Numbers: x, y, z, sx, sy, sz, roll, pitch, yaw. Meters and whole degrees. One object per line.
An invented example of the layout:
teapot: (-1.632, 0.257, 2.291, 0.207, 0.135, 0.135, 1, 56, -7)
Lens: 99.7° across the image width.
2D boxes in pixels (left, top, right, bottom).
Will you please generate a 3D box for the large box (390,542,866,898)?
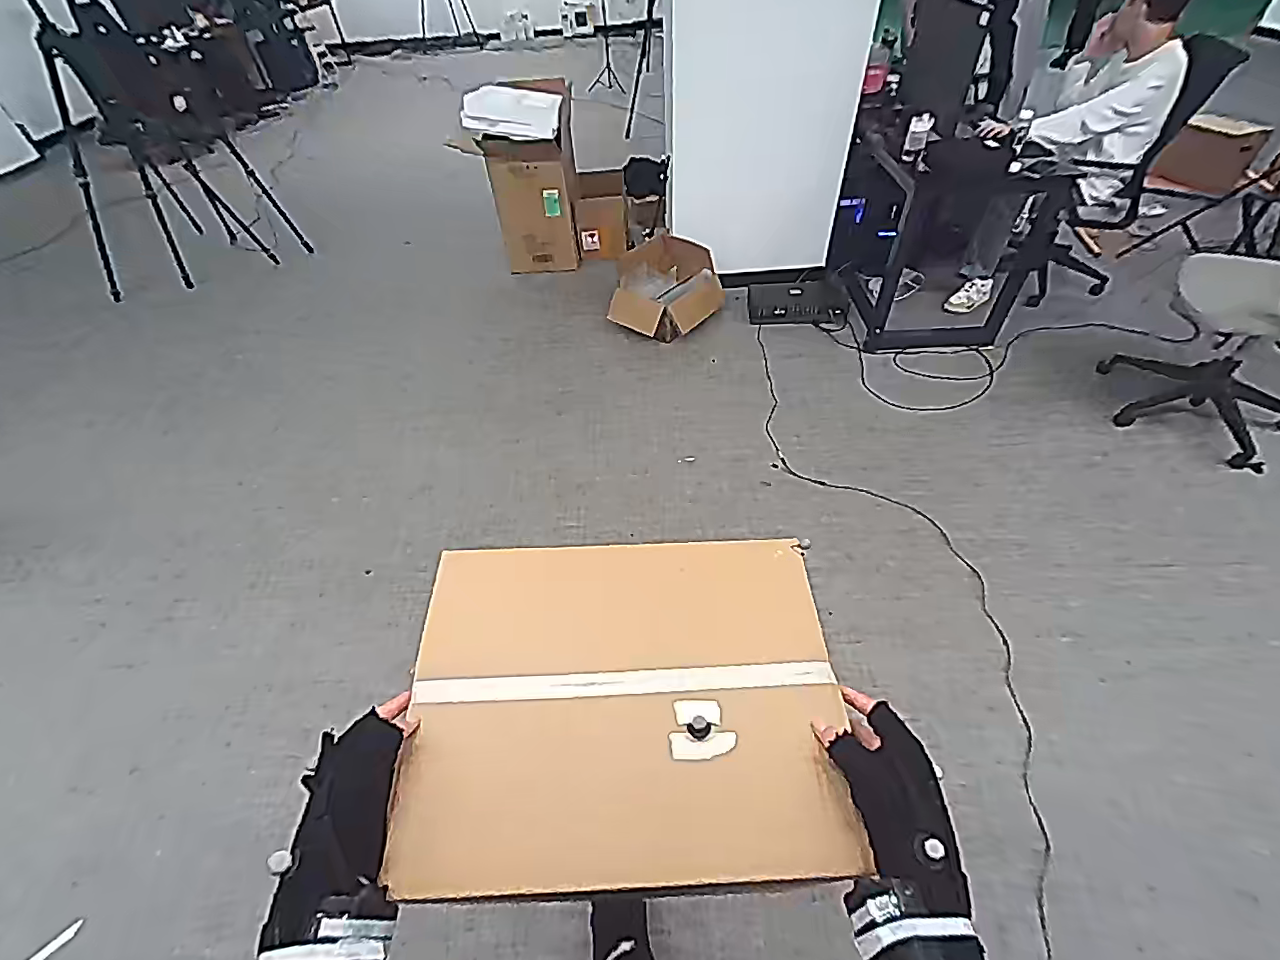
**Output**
large box: (-0.015, 0.293, 0.651, 0.408, 0.320, 0.320, -1, 51, -1)
